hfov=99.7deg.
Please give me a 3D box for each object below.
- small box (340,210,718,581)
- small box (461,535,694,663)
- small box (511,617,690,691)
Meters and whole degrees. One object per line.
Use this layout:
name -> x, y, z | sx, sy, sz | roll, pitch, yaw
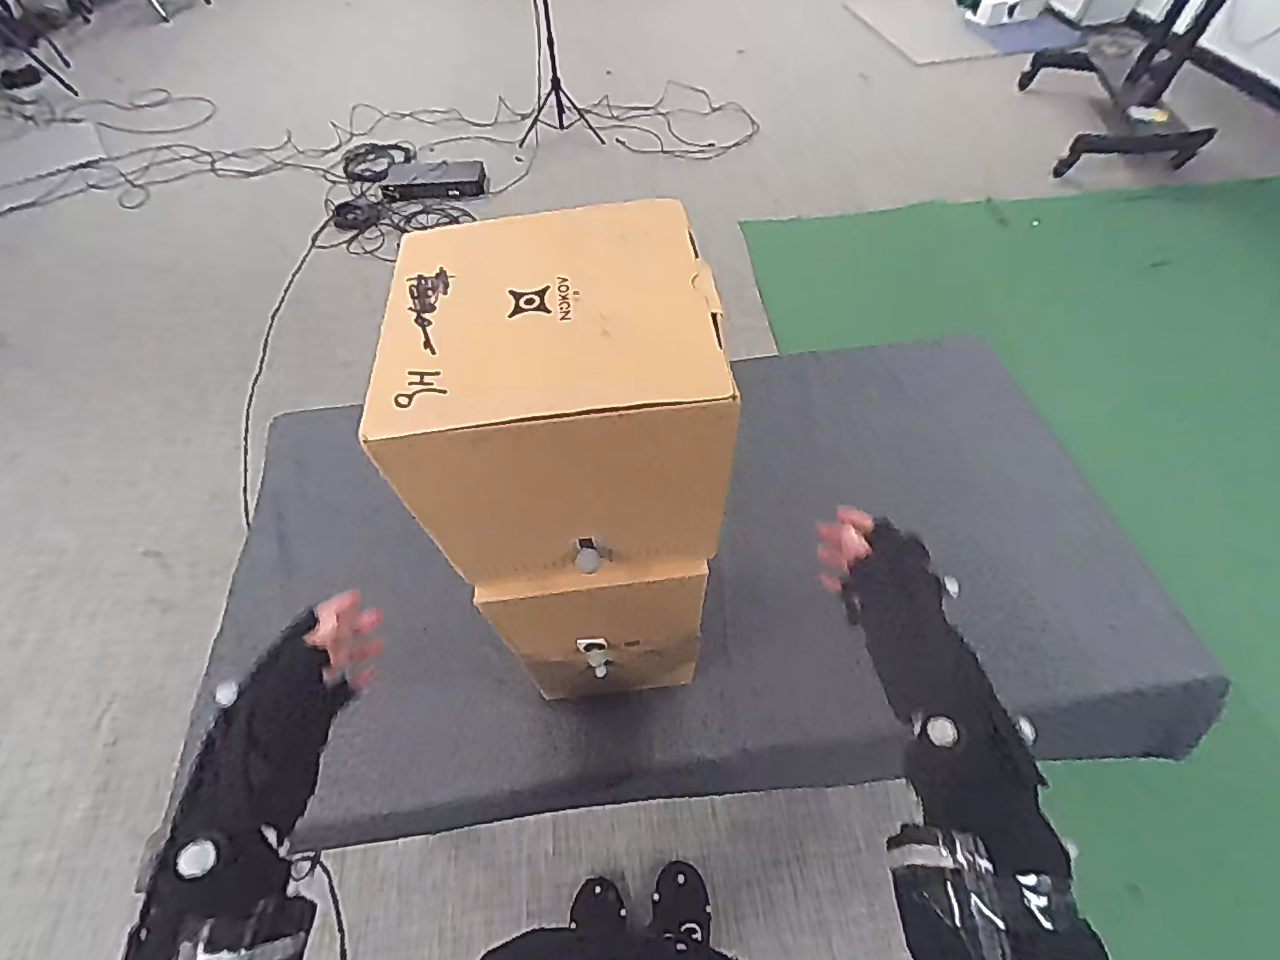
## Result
small box -> -0.055, -0.046, 0.356 | 0.179, 0.176, 0.168 | -6, 56, -1
small box -> -0.048, 0.048, 0.489 | 0.168, 0.176, 0.179 | -7, 56, -1
small box -> -0.041, 0.136, 0.624 | 0.179, 0.176, 0.168 | -5, 56, -2
